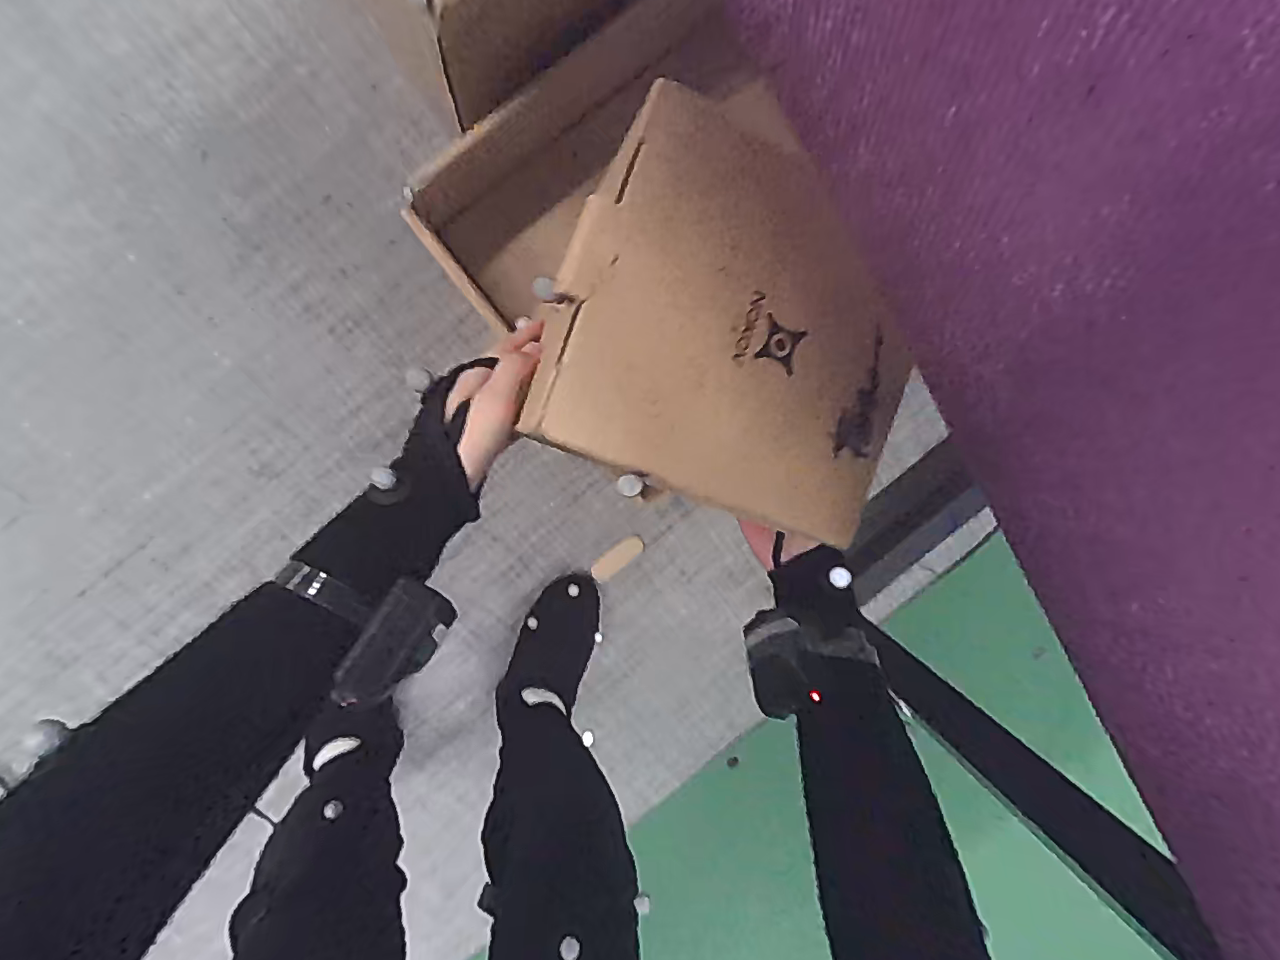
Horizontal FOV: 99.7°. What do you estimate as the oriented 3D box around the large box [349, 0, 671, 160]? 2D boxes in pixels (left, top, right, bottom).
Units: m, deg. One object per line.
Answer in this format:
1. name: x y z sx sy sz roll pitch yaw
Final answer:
1. large box: -0.111 -0.584 0.473 0.408 0.320 0.320 -39 108 0
